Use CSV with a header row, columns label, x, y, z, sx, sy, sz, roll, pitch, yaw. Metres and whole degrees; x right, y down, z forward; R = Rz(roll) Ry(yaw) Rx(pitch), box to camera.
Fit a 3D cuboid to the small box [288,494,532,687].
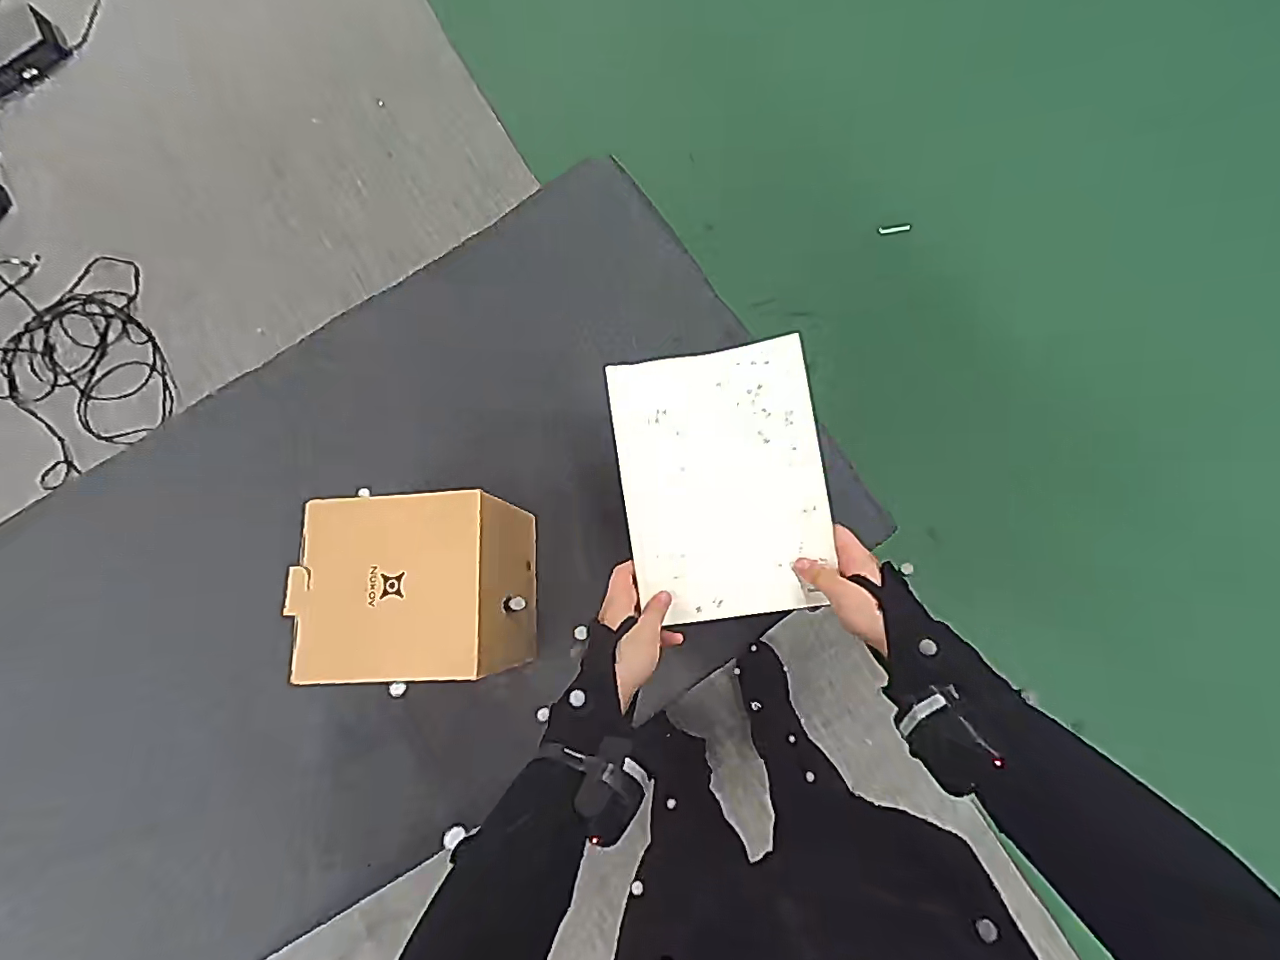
label,x,y,z,sx,sy,sz,roll,pitch,yaw
small box,-0.216,0.111,0.556,0.179,0.176,0.168,-4,78,7
